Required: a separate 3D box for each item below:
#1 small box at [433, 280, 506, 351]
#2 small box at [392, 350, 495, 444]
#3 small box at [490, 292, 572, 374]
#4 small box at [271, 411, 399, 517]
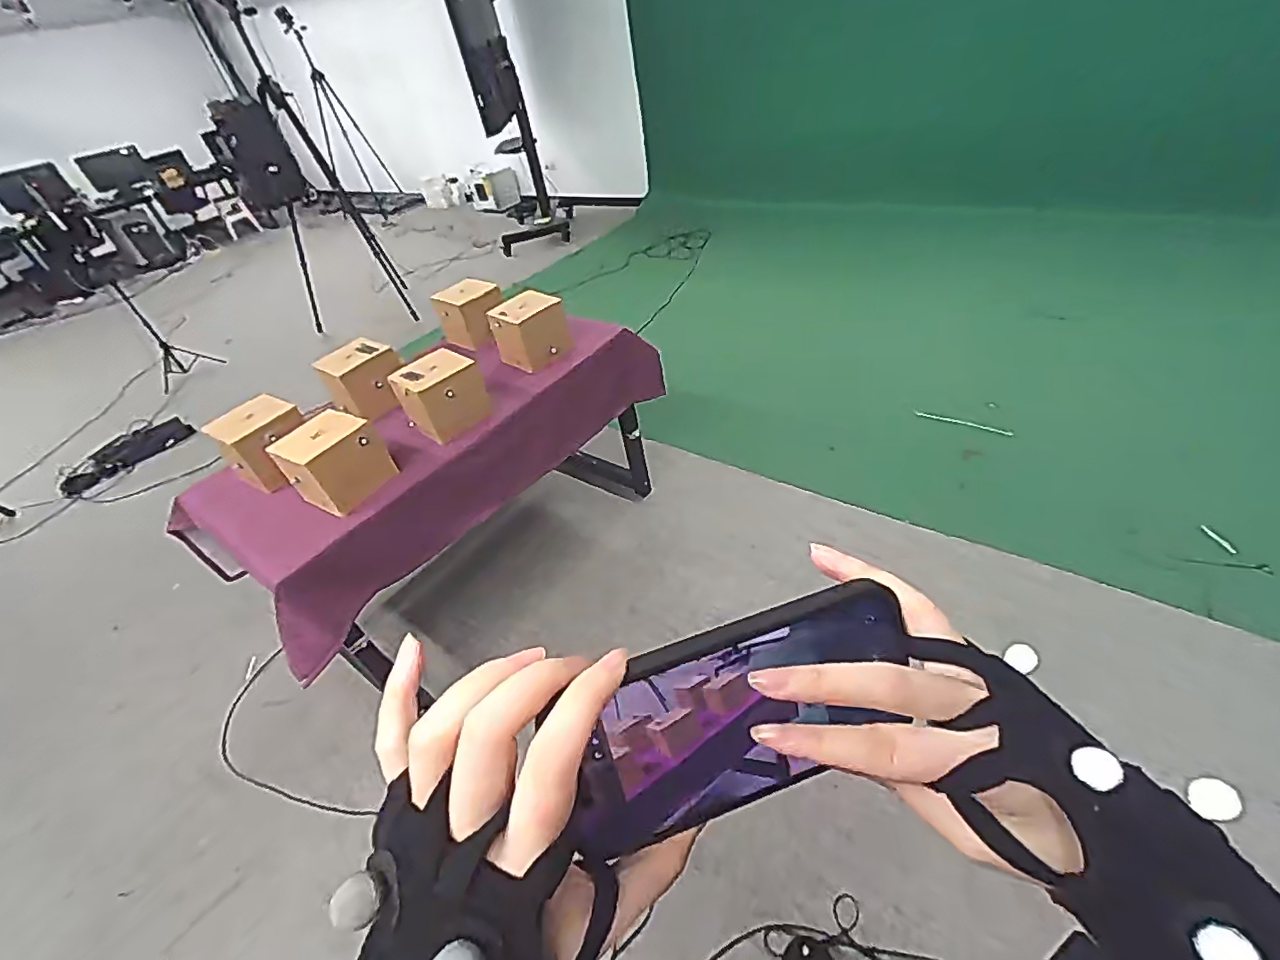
[{"bbox_3d":[-0.564,-0.560,1.844,0.179,0.176,0.168,25,53,34],"label":"small box"},{"bbox_3d":[-0.521,-0.222,1.452,0.168,0.176,0.179,27,53,36],"label":"small box"},{"bbox_3d":[-0.327,-0.454,1.668,0.168,0.176,0.179,28,54,37],"label":"small box"},{"bbox_3d":[-0.719,-0.039,1.292,0.168,0.176,0.179,16,47,29],"label":"small box"}]
